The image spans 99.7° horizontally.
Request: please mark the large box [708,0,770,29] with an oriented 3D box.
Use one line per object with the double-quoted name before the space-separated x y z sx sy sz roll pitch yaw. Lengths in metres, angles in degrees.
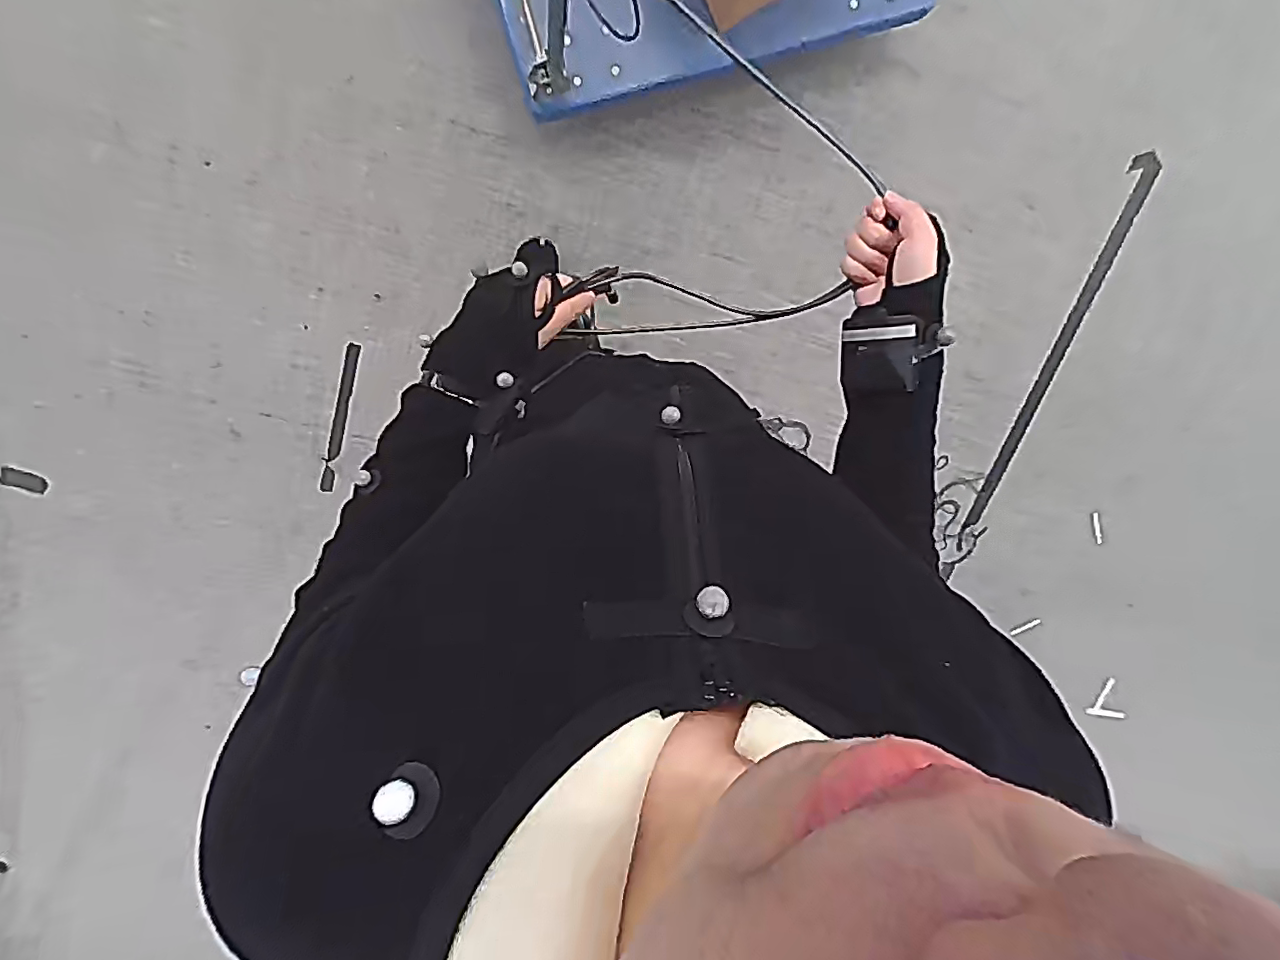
"large box" 0.206 -1.075 0.857 0.320 0.320 0.408 -30 109 5
